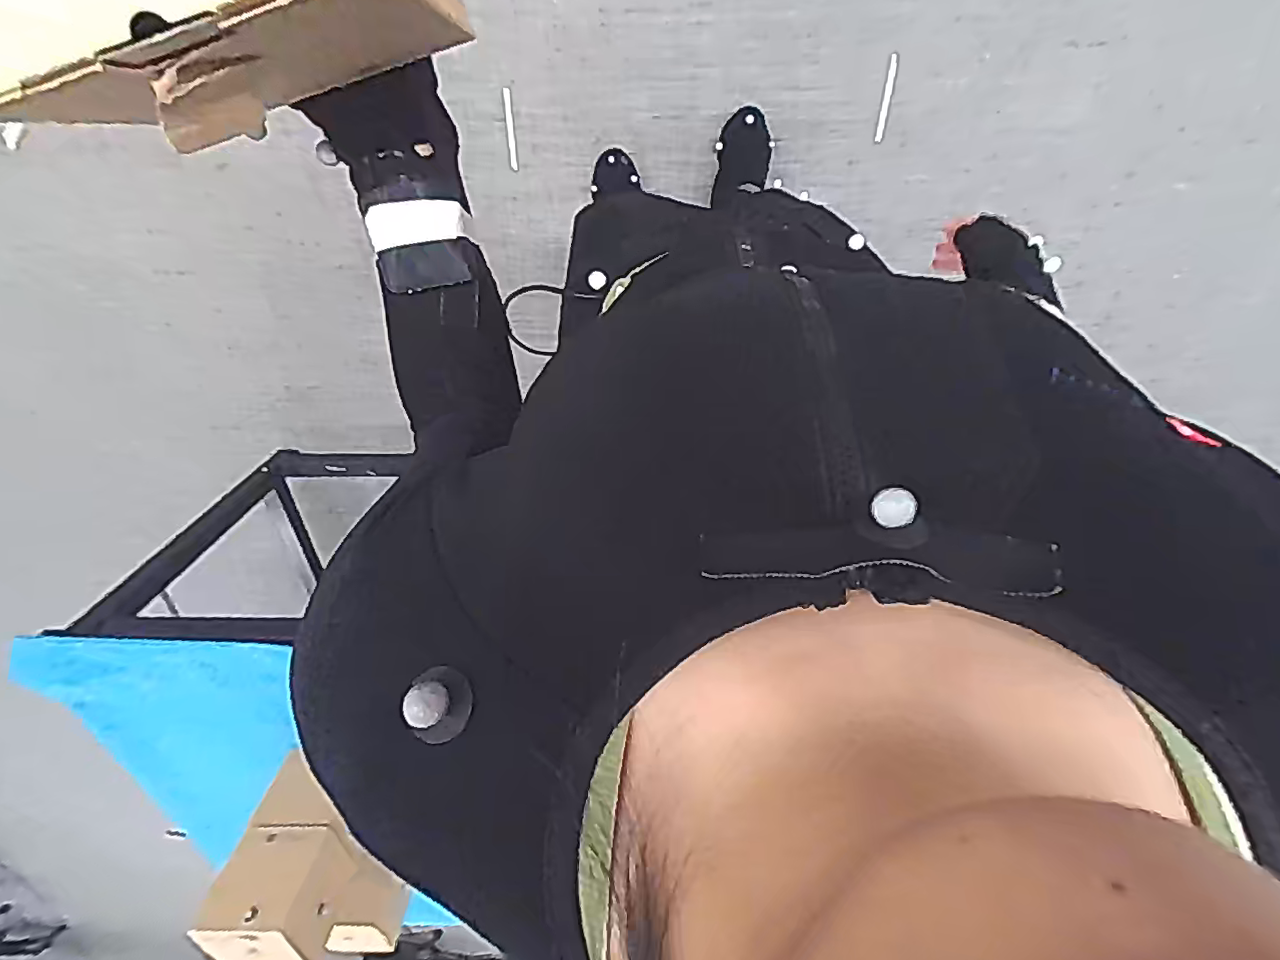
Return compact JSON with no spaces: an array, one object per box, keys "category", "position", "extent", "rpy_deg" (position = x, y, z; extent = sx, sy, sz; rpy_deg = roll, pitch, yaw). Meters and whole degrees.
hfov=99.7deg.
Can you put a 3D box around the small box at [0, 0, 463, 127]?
[{"category":"small box","position":[-0.190,-0.258,0.207],"extent":[0.168,0.176,0.179],"rpy_deg":[-15,121,5]}]

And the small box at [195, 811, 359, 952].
[{"category":"small box","position":[-0.677,0.767,1.037],"extent":[0.168,0.176,0.179],"rpy_deg":[-3,122,5]}]

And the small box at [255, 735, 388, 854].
[{"category":"small box","position":[-0.678,0.686,1.178],"extent":[0.168,0.176,0.179],"rpy_deg":[0,123,2]}]

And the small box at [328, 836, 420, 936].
[{"category":"small box","position":[-0.706,1.064,1.422],"extent":[0.179,0.176,0.168],"rpy_deg":[1,124,-1]}]
